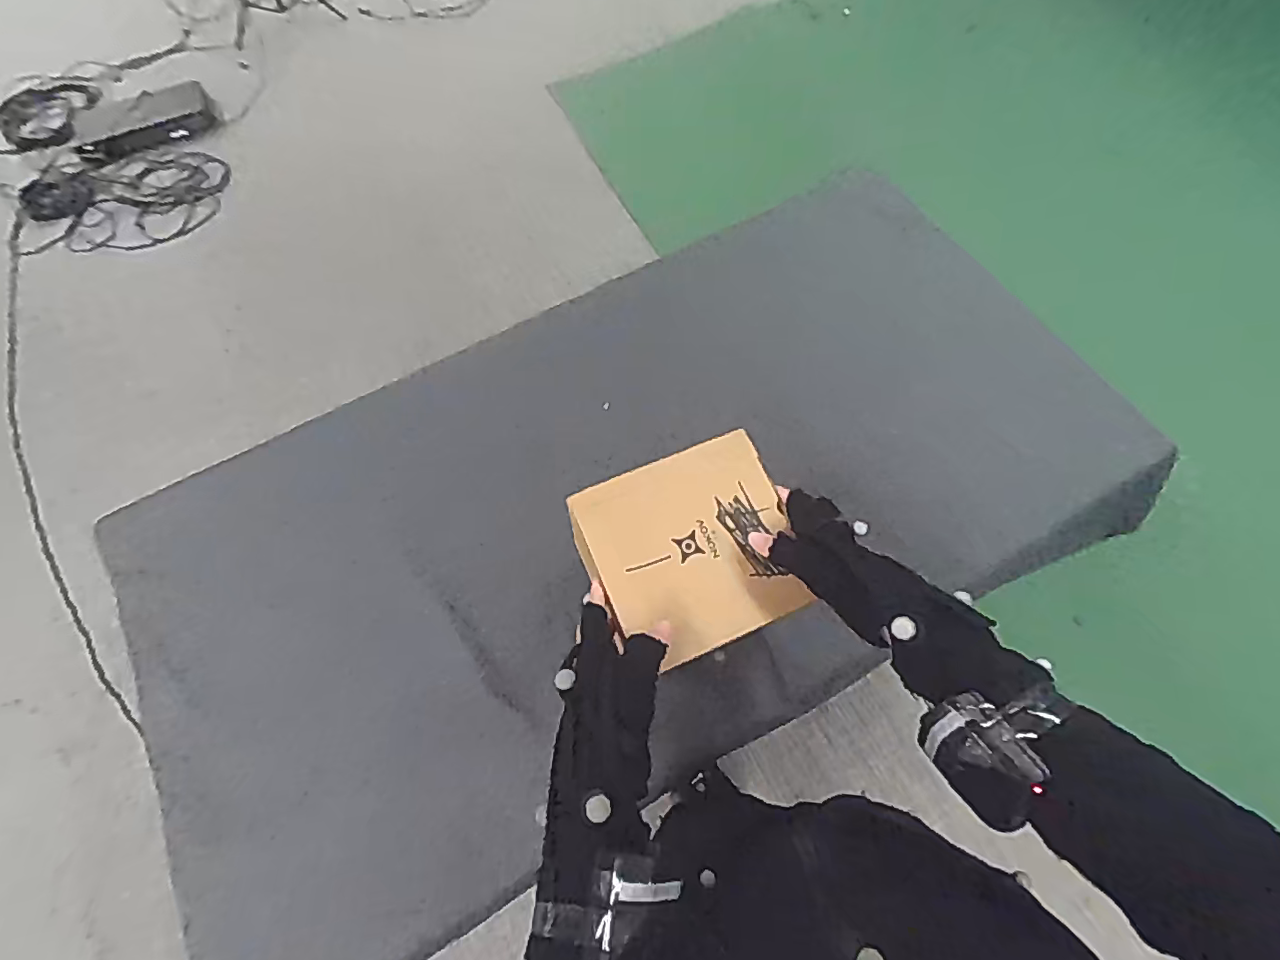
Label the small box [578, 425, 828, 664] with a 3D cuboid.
[{"bbox_3d":[0.046,0.072,0.535,0.179,0.176,0.168,-18,72,-10],"label":"small box"}]
